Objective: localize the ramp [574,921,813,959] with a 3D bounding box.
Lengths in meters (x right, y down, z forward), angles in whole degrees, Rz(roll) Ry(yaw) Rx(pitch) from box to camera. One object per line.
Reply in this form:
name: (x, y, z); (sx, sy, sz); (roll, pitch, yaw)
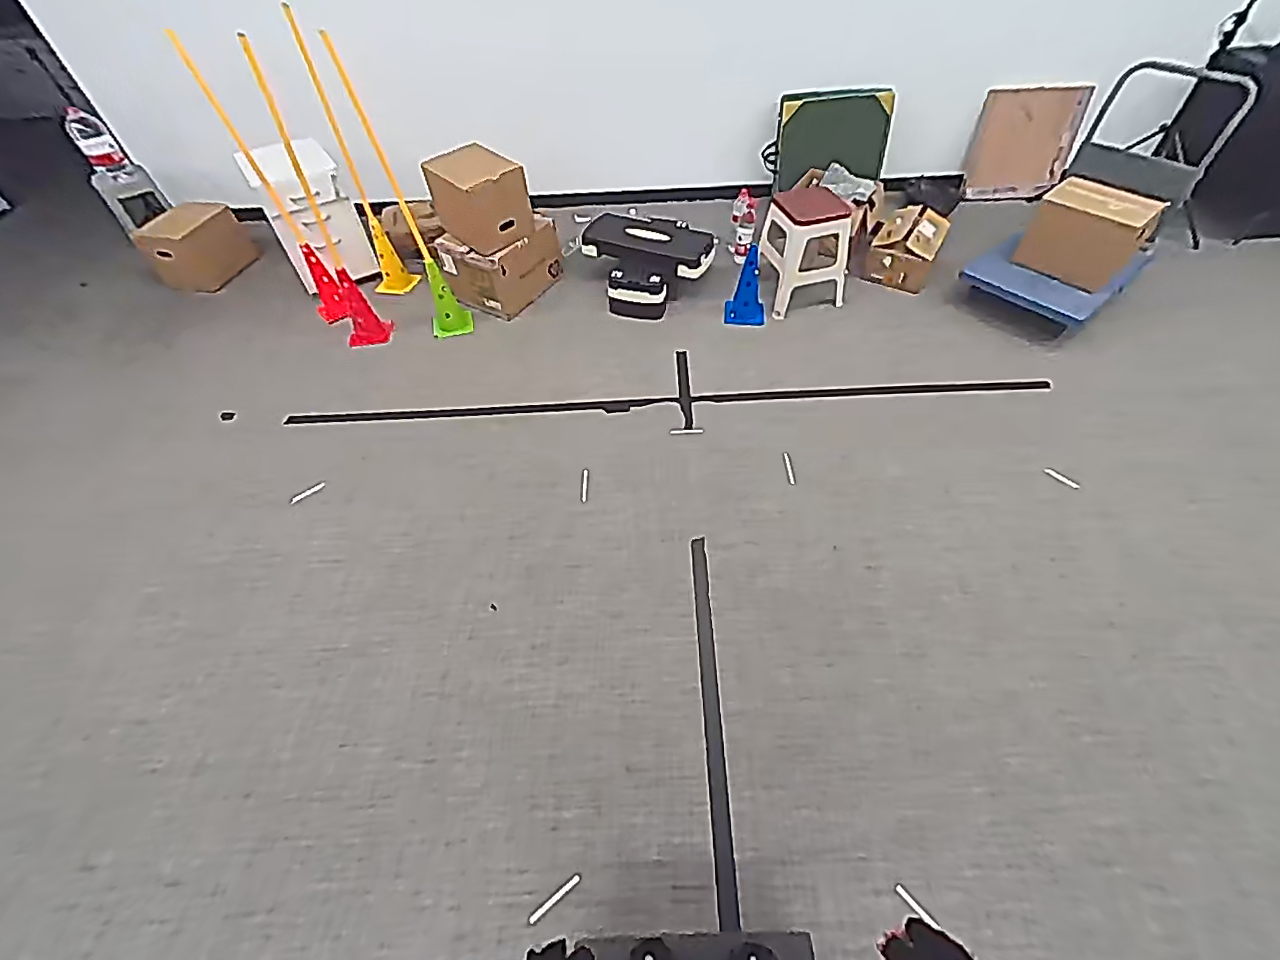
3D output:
ramp: (0.126, 1.363, 0.887); (0.509, 0.206, 0.991); (-3, 51, -1)
